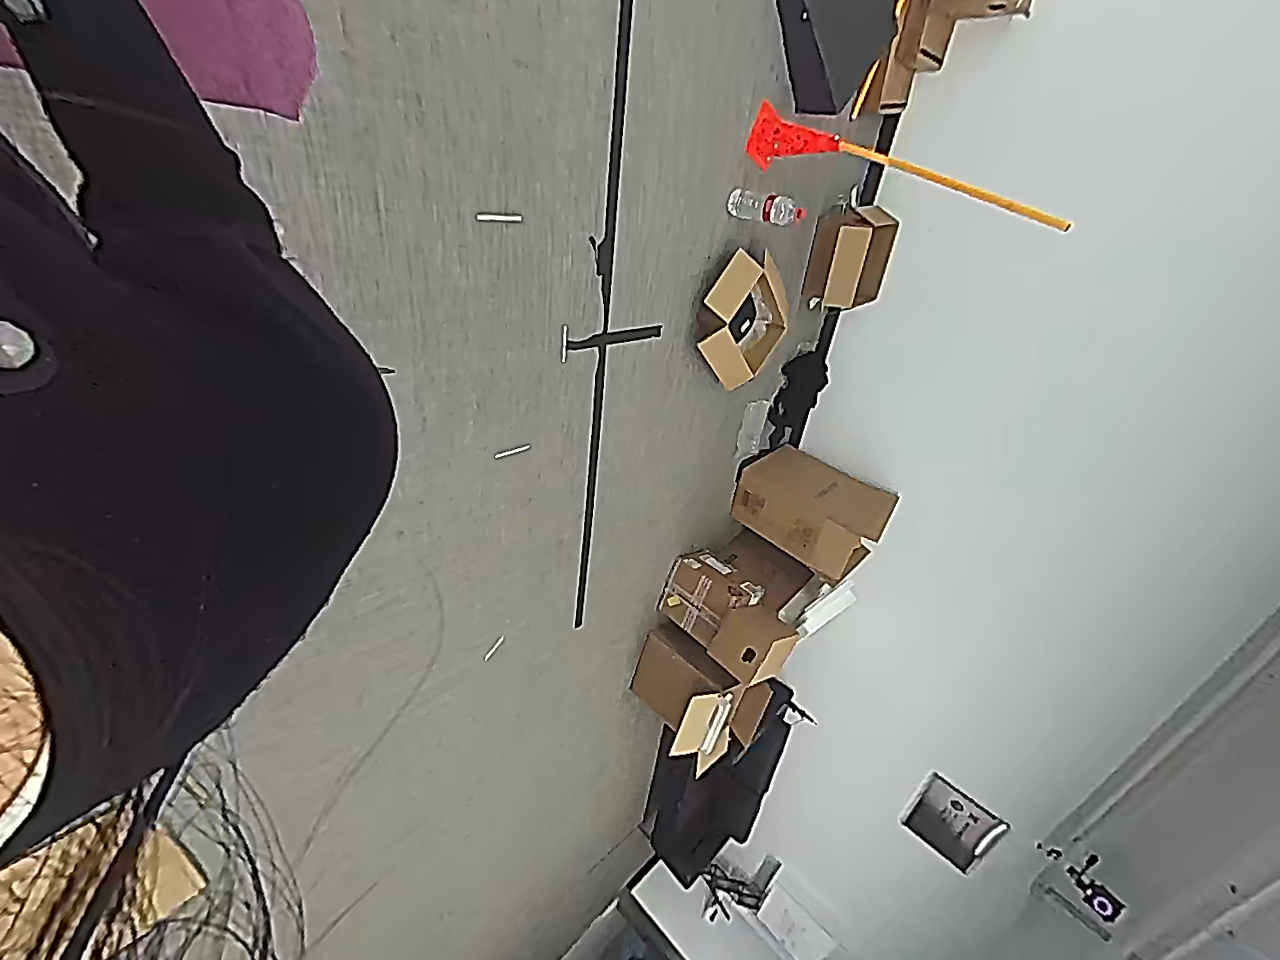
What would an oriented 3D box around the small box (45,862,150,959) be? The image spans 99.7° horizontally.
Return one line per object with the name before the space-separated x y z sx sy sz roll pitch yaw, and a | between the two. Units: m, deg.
small box | -1.559 1.252 1.554 0.168 0.176 0.179 -23 133 -39
